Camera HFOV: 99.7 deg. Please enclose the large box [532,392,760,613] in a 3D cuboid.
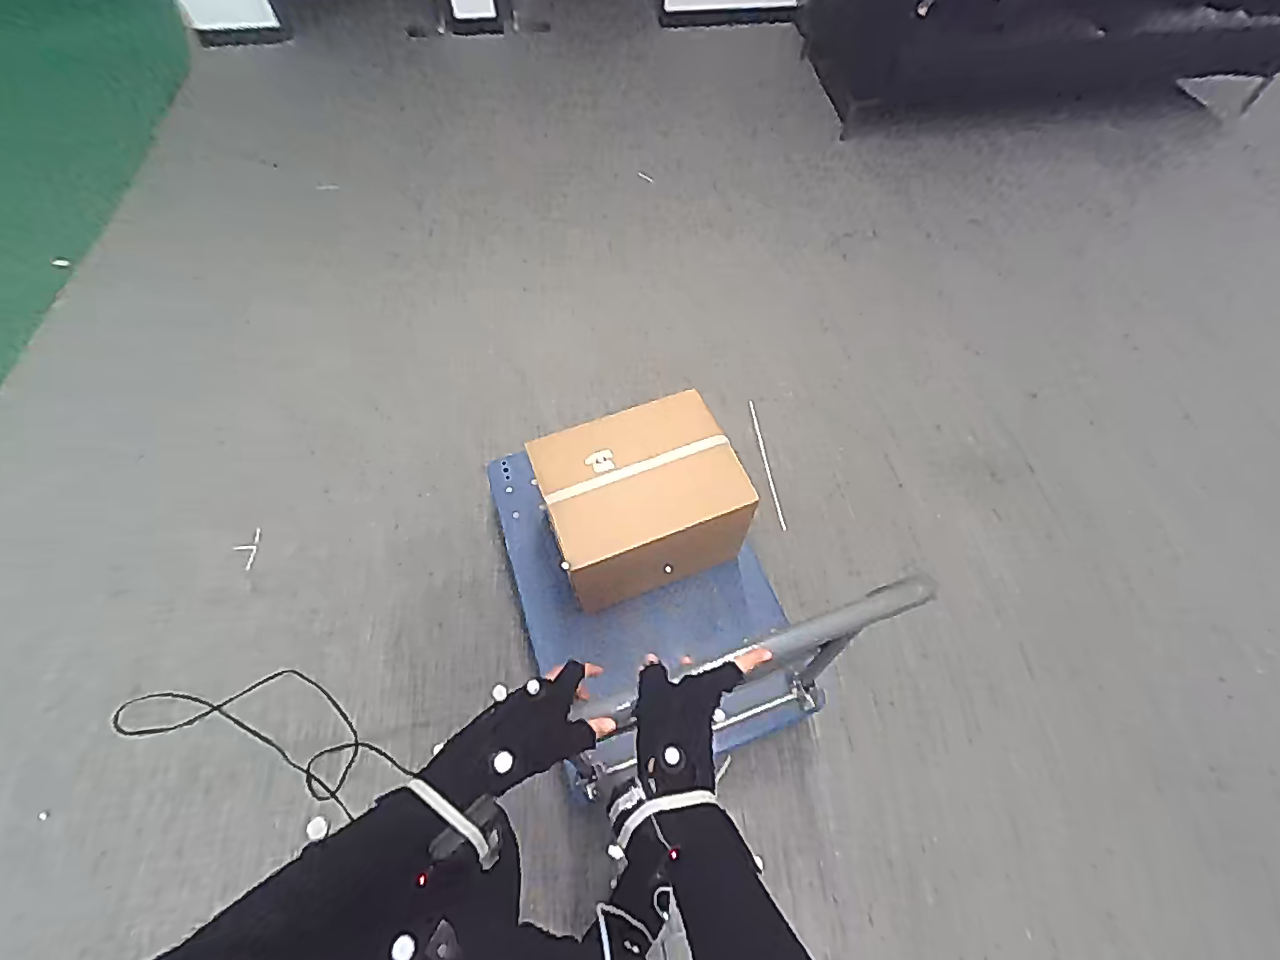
[{"bbox_3d":[0.009,0.060,1.255,0.408,0.320,0.320,-20,62,-10],"label":"large box"}]
